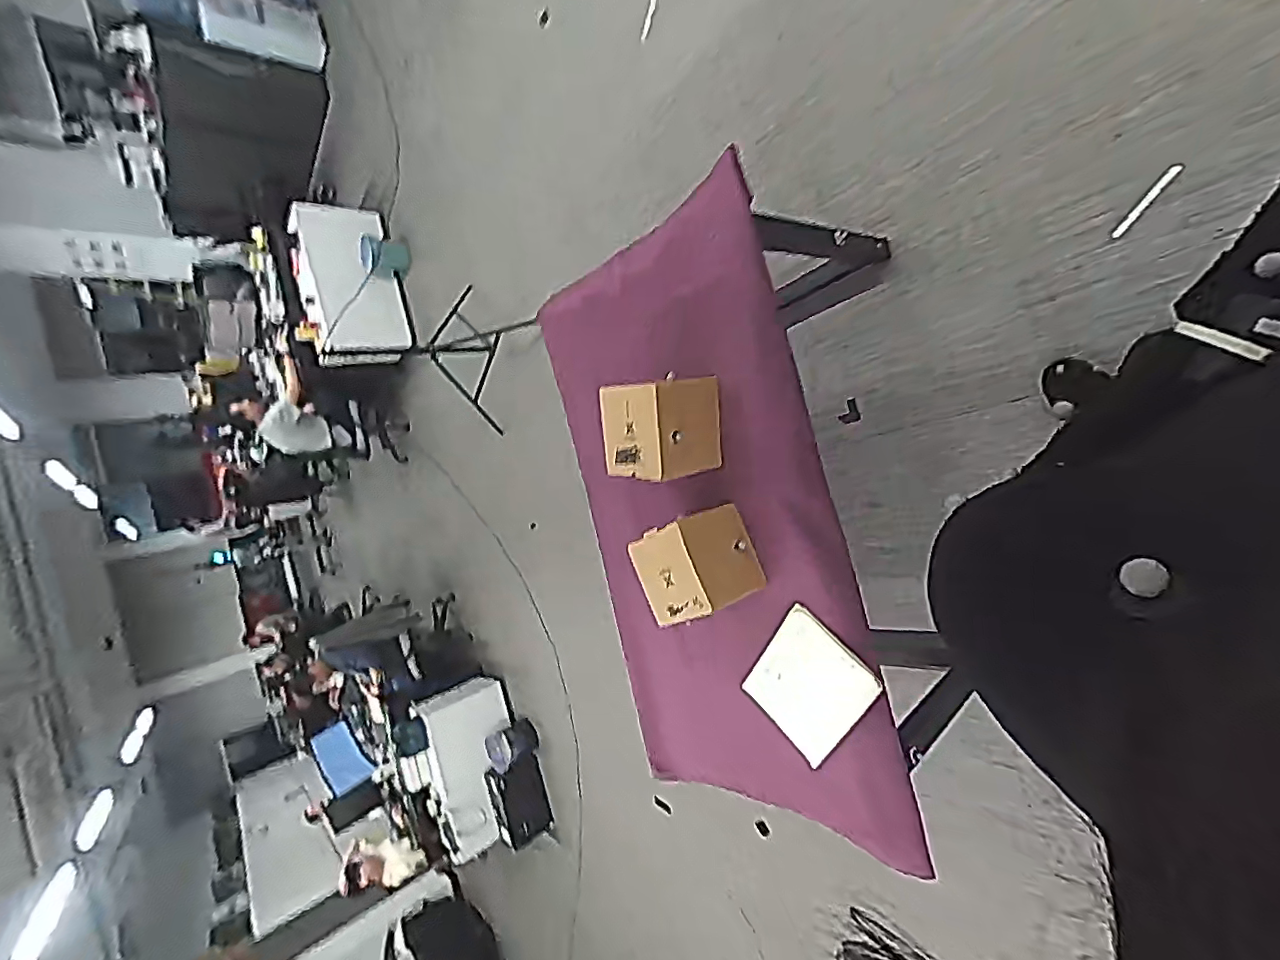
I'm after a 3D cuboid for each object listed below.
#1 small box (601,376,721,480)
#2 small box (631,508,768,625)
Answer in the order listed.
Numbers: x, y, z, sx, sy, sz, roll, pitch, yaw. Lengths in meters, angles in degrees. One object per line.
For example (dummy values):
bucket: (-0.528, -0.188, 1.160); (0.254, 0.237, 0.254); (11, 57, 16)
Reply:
small box: (0.045, -0.107, 1.065); (0.168, 0.176, 0.179); (8, 106, 50)
small box: (0.117, 0.163, 1.062); (0.168, 0.176, 0.179); (-34, 74, 50)
